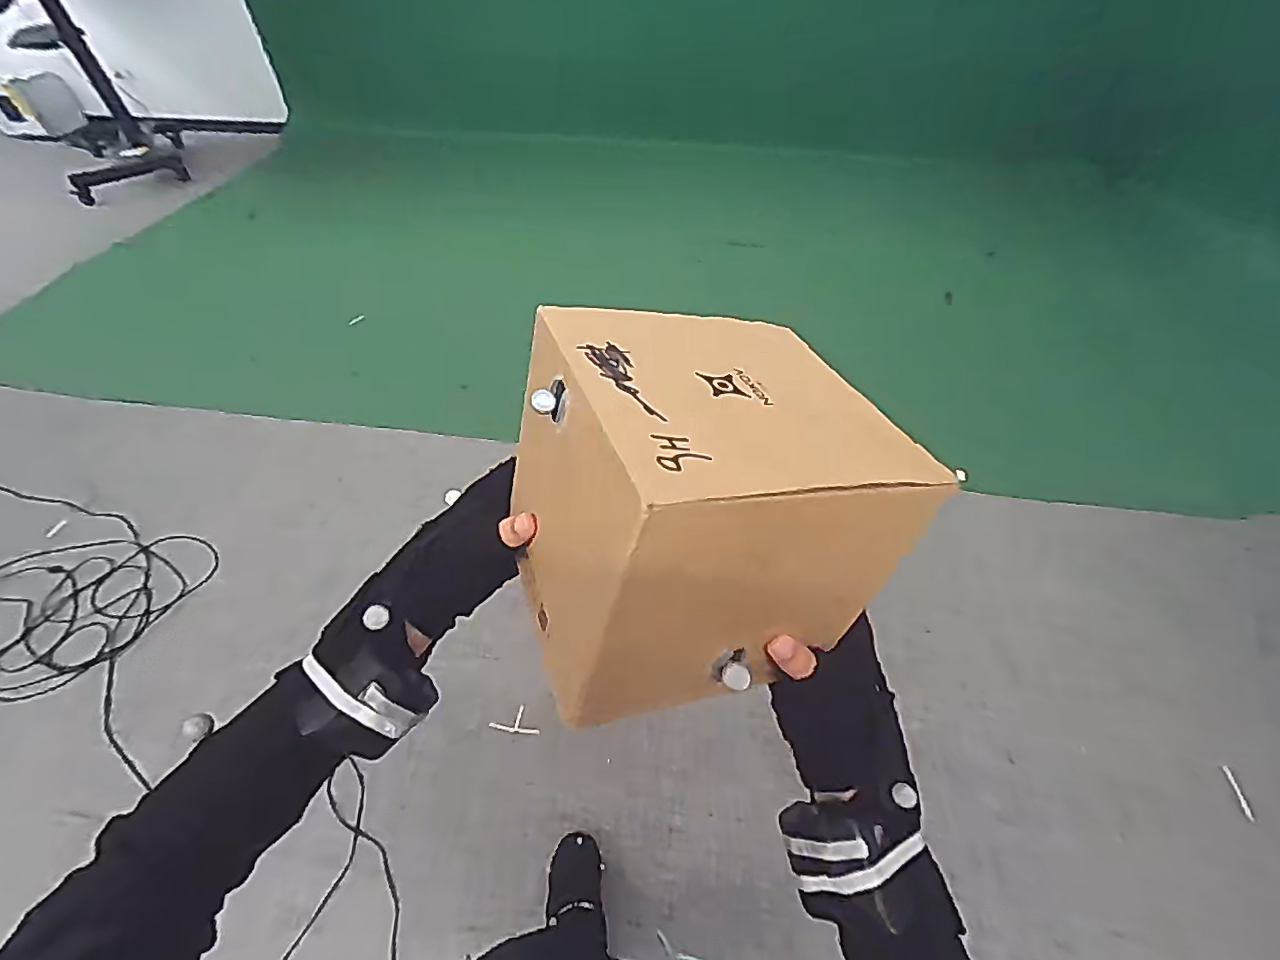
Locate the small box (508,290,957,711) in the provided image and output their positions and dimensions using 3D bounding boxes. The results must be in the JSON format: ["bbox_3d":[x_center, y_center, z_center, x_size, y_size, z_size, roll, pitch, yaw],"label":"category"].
[{"bbox_3d":[0.030,0.010,0.327,0.179,0.176,0.168,-2,42,-26],"label":"small box"}]
